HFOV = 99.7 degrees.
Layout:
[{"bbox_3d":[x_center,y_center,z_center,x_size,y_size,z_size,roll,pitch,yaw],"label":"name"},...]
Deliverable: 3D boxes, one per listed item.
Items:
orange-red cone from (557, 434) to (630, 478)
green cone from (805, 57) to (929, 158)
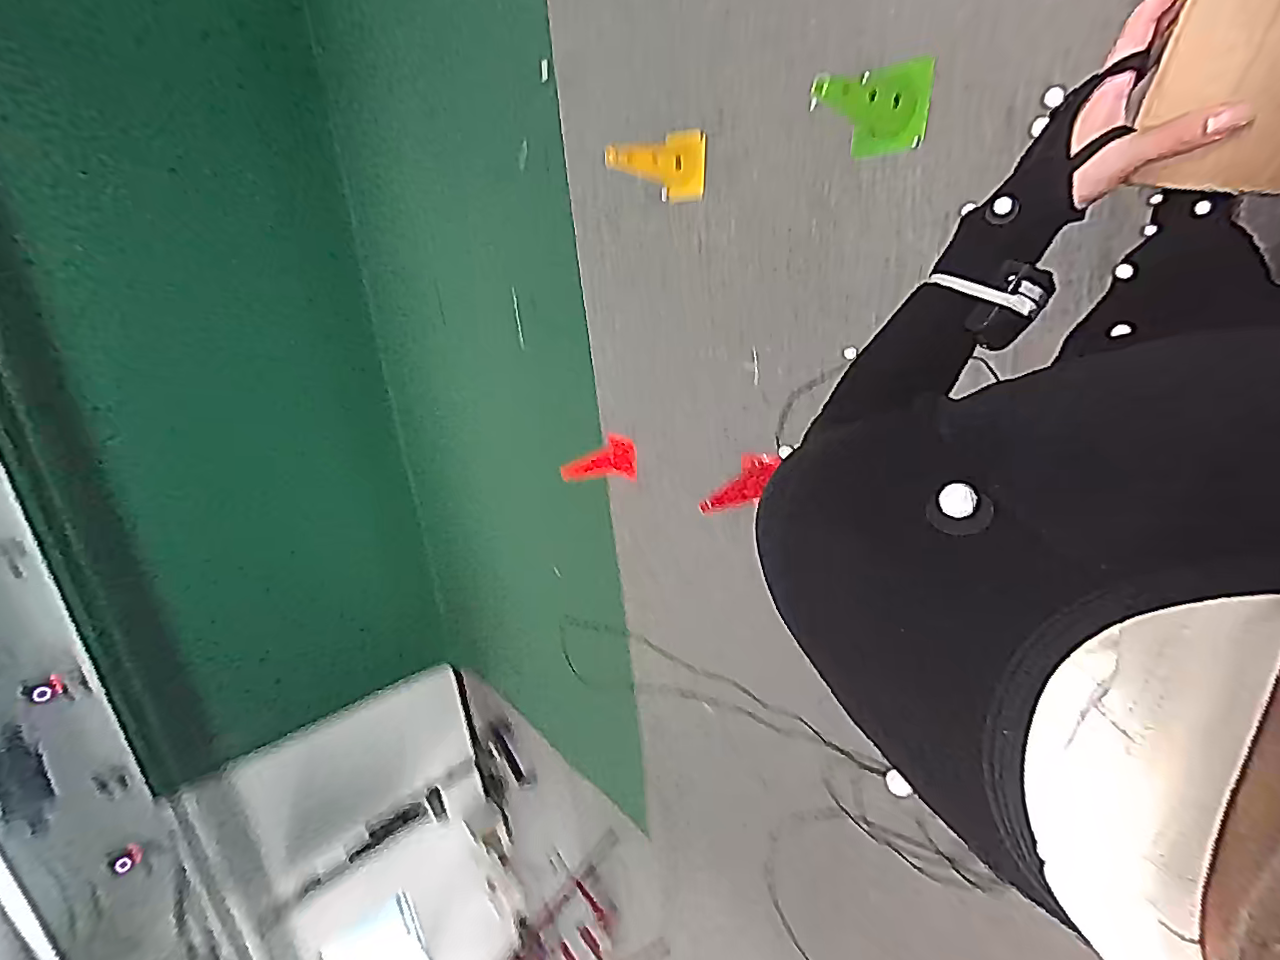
[{"bbox_3d":[-0.240,-0.075,2.610,0.198,0.360,0.199,22,123,44],"label":"orange-red cone"},{"bbox_3d":[0.531,-0.946,1.339,0.202,0.368,0.200,21,120,45],"label":"green cone"}]
